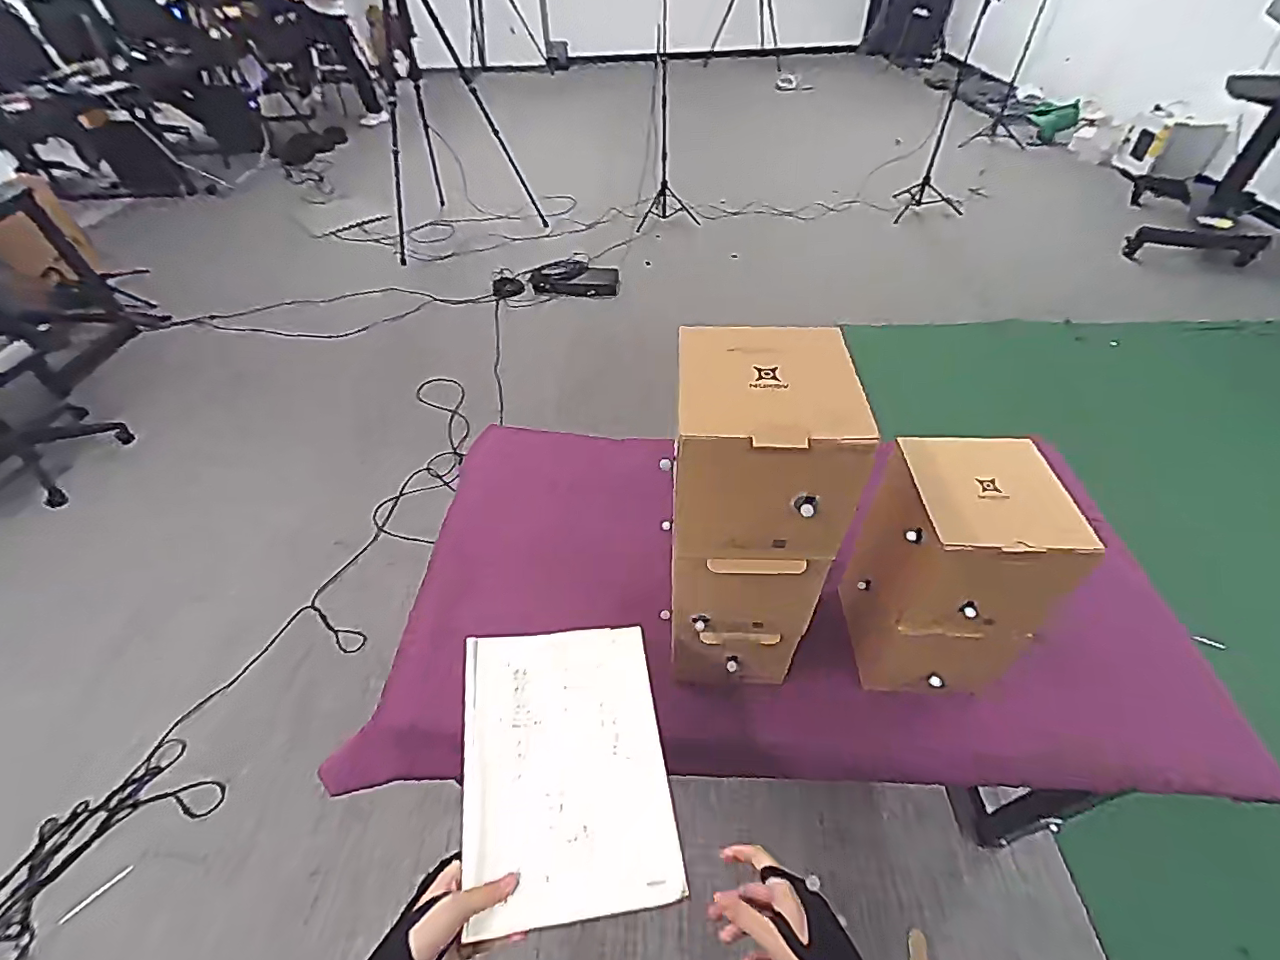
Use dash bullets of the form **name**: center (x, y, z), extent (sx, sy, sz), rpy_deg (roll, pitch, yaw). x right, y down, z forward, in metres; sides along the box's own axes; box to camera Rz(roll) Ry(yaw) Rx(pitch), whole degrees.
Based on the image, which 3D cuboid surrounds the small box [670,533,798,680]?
- **small box**: center (0.129, 0.182, 0.805), extent (0.168, 0.176, 0.179), rpy_deg (1, 47, 3)

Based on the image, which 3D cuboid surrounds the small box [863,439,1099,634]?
- **small box**: center (0.397, 0.069, 0.674), extent (0.168, 0.176, 0.179), rpy_deg (1, 46, 3)

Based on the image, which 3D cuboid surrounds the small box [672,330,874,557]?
- **small box**: center (0.120, -0.036, 0.561), extent (0.168, 0.176, 0.179), rpy_deg (2, 46, 3)

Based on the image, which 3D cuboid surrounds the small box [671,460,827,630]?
- **small box**: center (0.124, 0.073, 0.682), extent (0.168, 0.176, 0.179), rpy_deg (1, 45, 3)
